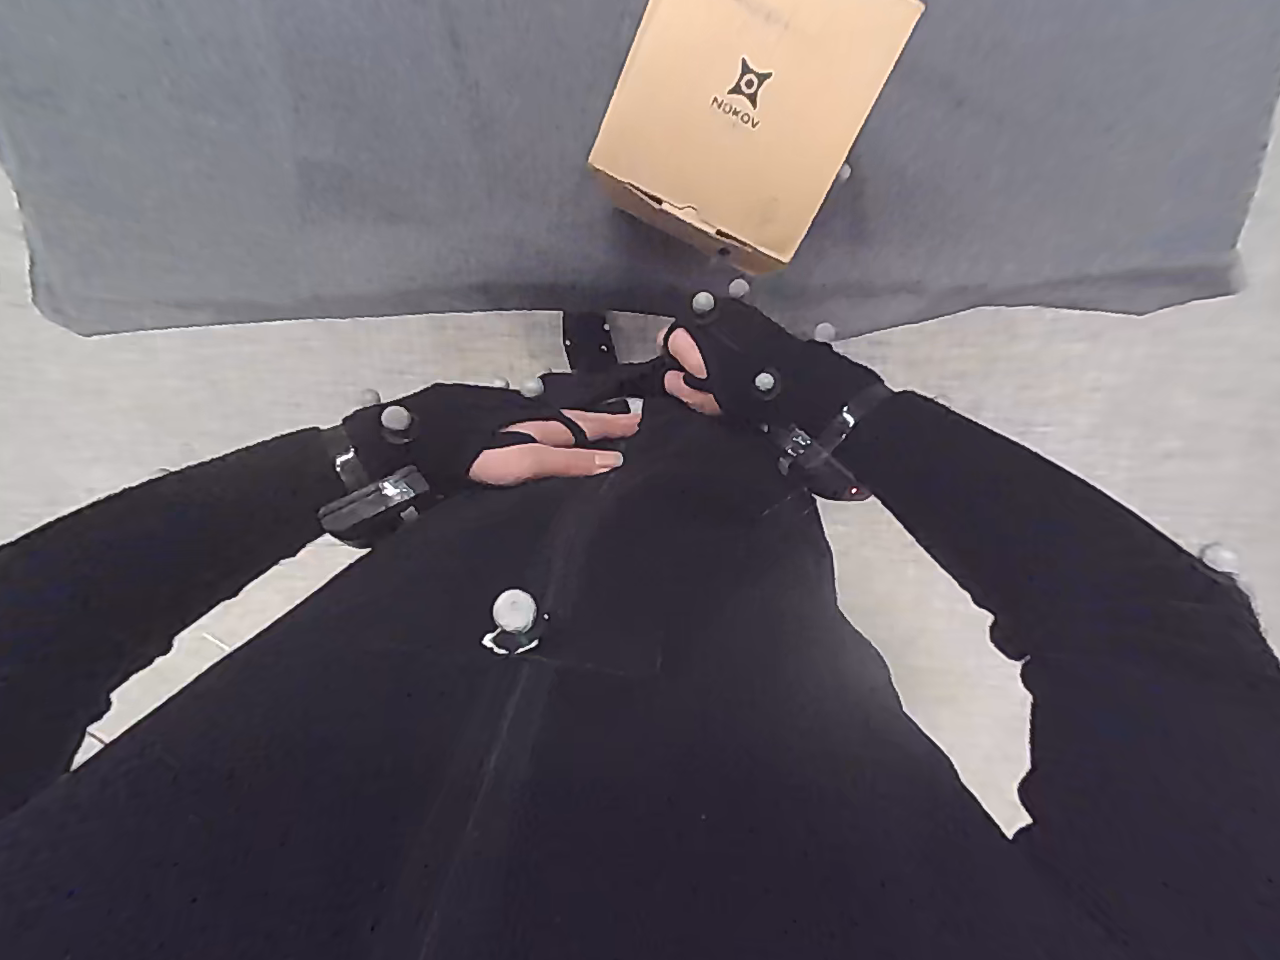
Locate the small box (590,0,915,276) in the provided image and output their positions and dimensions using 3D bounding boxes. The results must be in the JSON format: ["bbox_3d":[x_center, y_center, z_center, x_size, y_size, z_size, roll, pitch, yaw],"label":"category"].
[{"bbox_3d":[0.076,-0.284,0.444,0.168,0.176,0.179,24,107,-6],"label":"small box"}]
